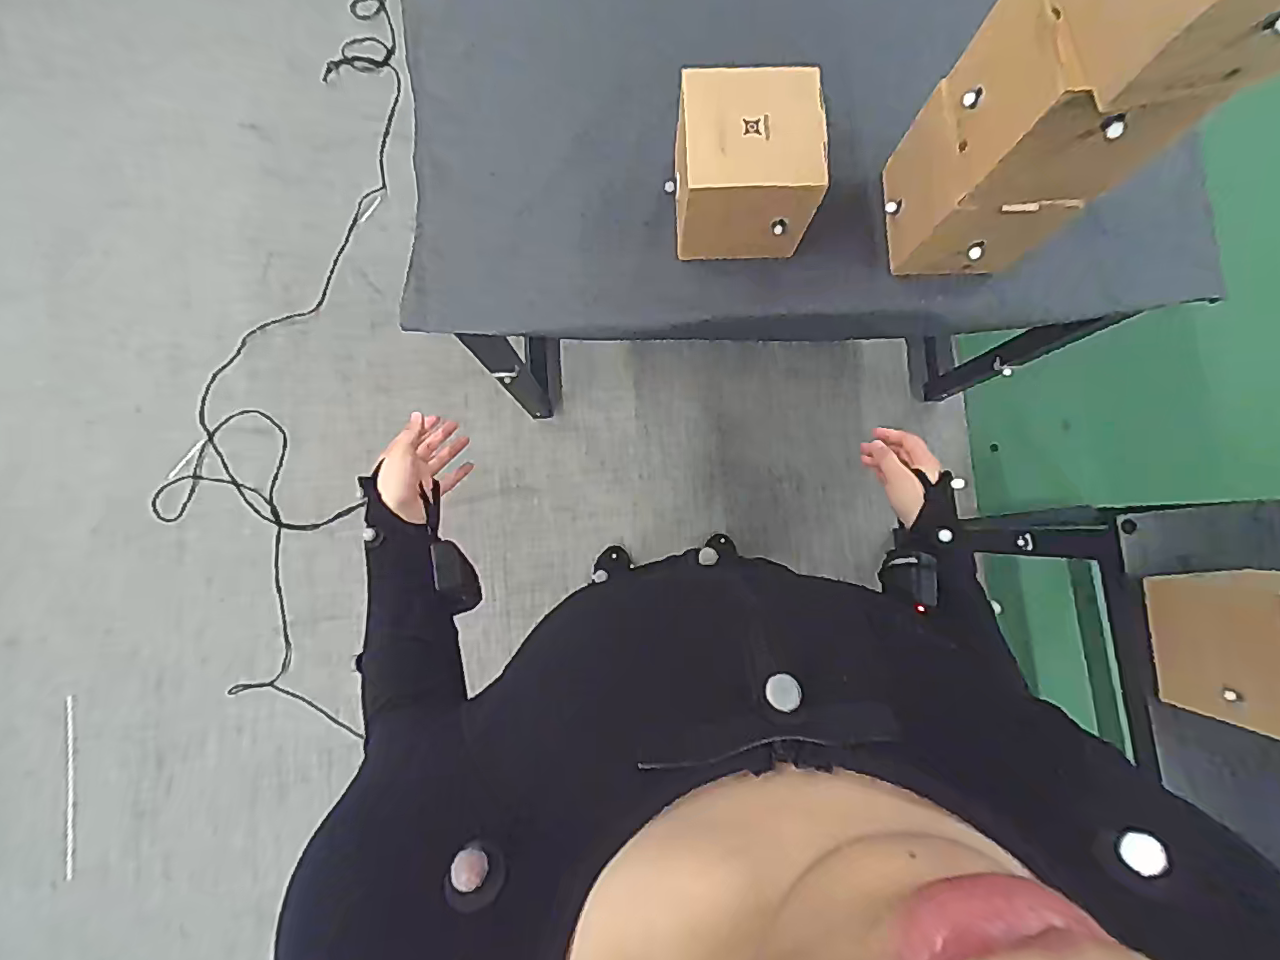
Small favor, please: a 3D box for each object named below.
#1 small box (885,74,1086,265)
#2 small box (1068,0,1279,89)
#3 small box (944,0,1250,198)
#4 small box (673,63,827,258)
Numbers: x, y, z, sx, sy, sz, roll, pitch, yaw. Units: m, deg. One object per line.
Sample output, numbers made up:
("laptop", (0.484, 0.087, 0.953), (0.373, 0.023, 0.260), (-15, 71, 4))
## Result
("small box", (0.454, -0.409, 0.738), (0.168, 0.176, 0.179), (-1, 84, 1))
("small box", (0.469, -0.439, 0.411), (0.168, 0.176, 0.179), (-11, 83, -1))
("small box", (0.462, -0.428, 0.576), (0.179, 0.176, 0.168), (-3, 83, 1))
("small box", (0.139, -0.426, 0.743), (0.179, 0.176, 0.168), (-2, 83, 1))
